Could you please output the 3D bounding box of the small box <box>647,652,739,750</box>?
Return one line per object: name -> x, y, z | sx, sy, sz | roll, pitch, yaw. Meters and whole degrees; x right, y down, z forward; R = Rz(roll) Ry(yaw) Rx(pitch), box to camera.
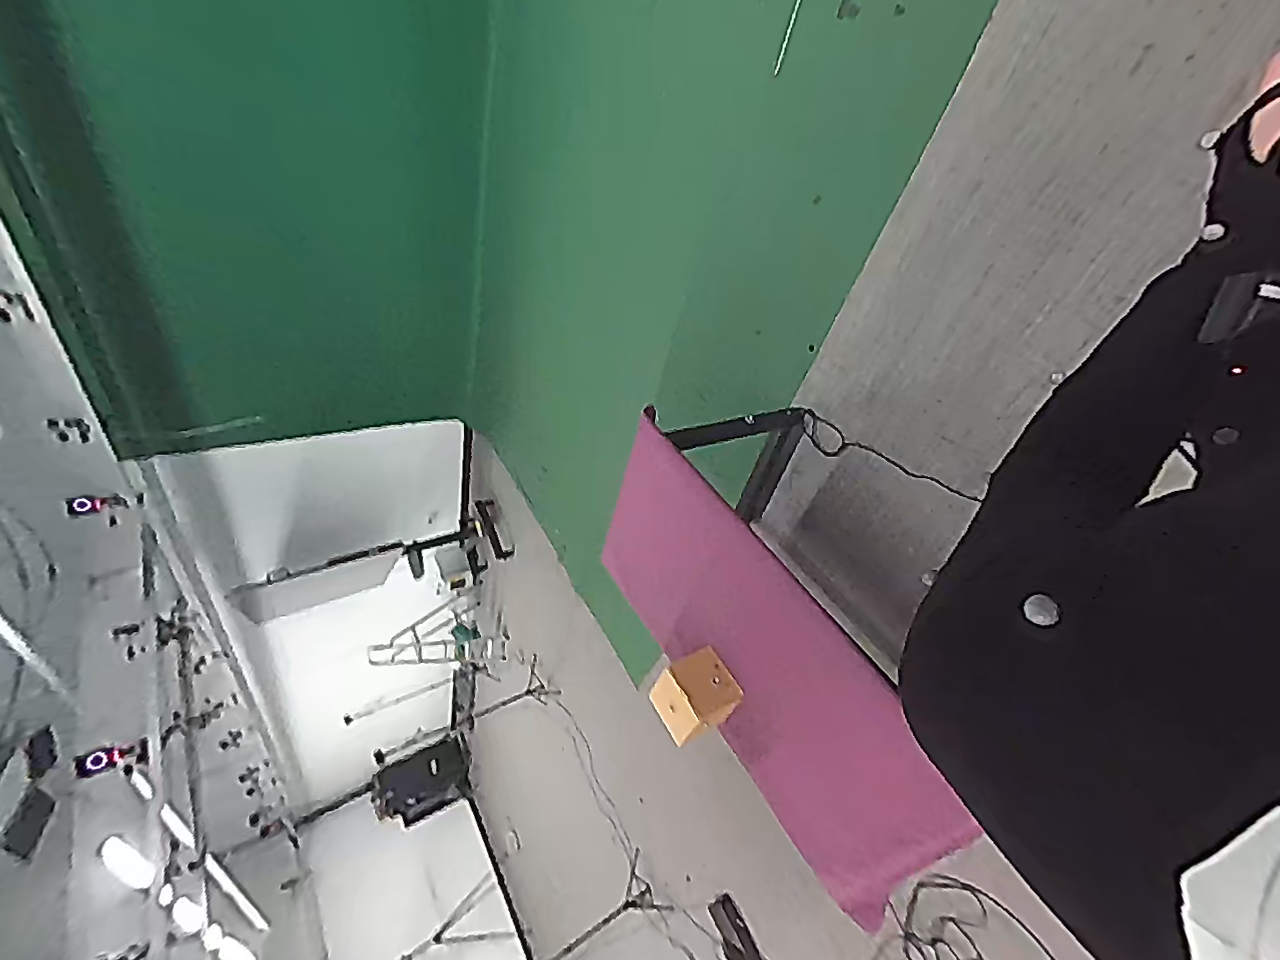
small box -> 0.151, 0.619, 1.526 | 0.168, 0.176, 0.179 | 52, 137, 33
